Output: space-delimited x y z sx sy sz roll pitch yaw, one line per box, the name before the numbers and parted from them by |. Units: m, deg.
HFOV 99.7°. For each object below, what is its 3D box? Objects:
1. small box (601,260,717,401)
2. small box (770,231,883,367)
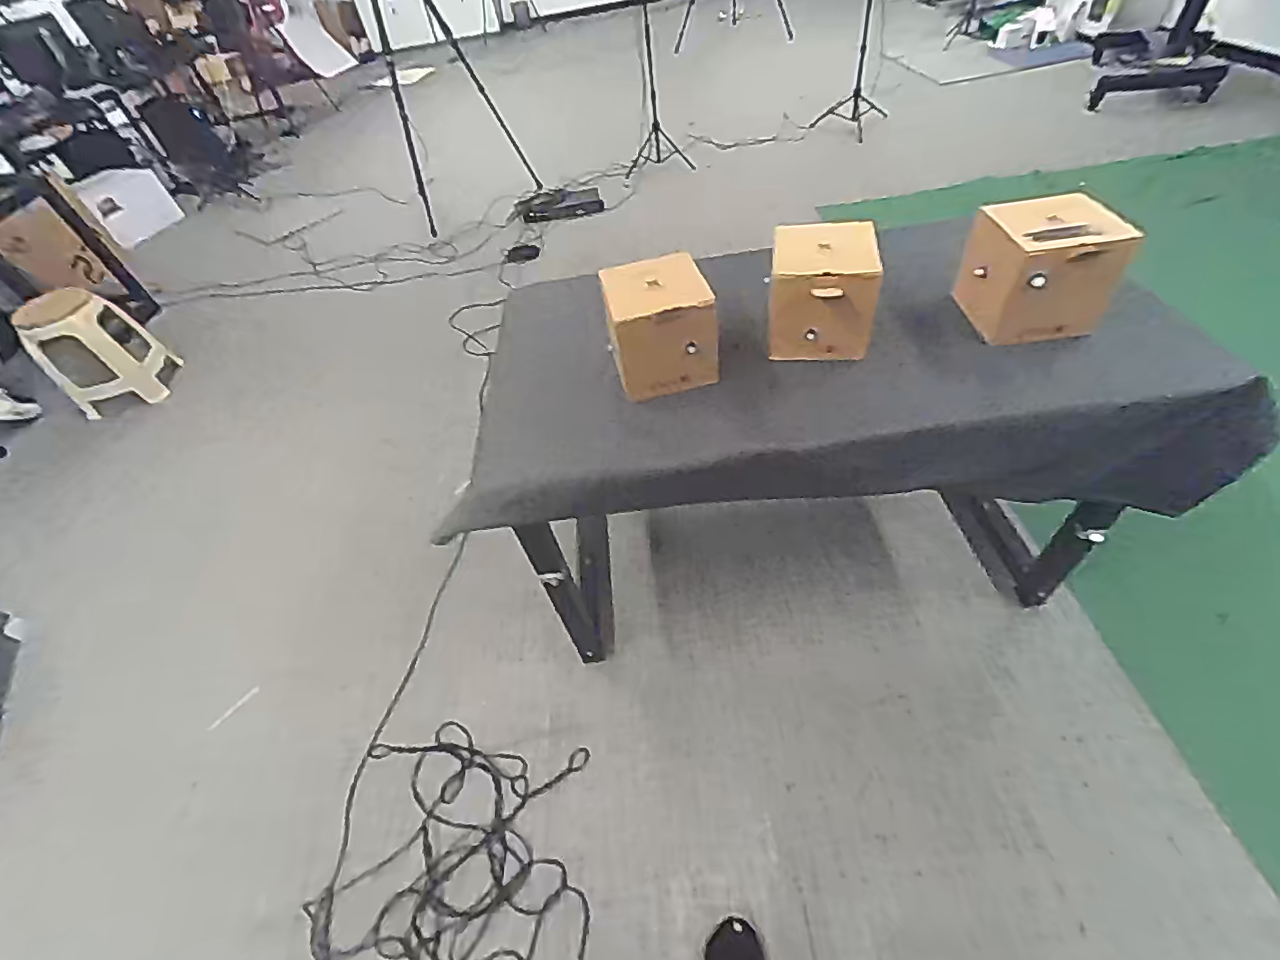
small box | 0.035 -0.257 0.956 0.168 0.176 0.179 -13 47 -4
small box | 0.321 -0.322 0.964 0.168 0.176 0.179 3 50 12
